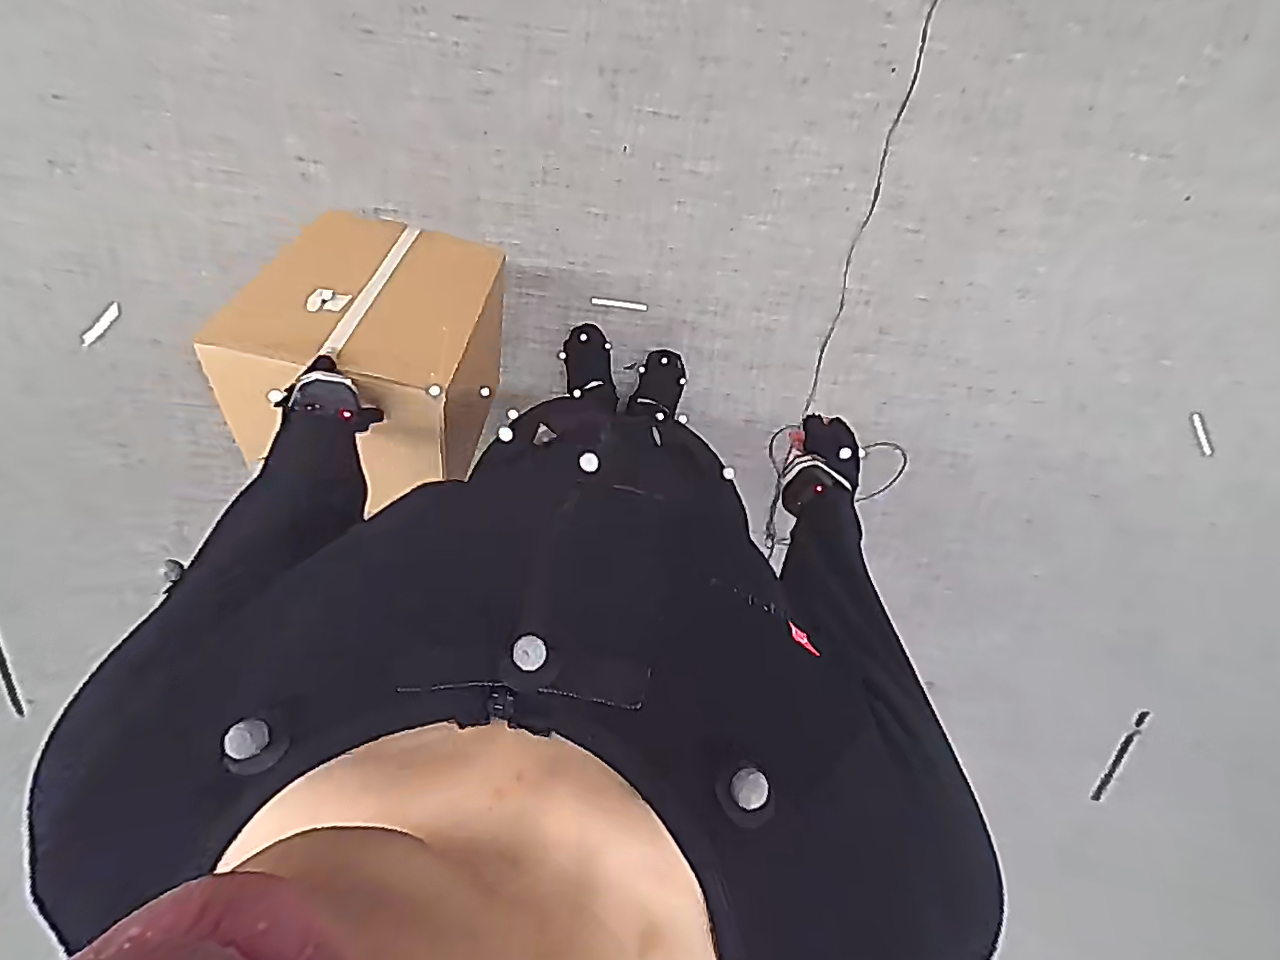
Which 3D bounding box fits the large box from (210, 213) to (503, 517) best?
[{"bbox_3d":[-0.444,-0.202,0.963,0.320,0.408,0.320,11,139,-8],"label":"large box"}]
